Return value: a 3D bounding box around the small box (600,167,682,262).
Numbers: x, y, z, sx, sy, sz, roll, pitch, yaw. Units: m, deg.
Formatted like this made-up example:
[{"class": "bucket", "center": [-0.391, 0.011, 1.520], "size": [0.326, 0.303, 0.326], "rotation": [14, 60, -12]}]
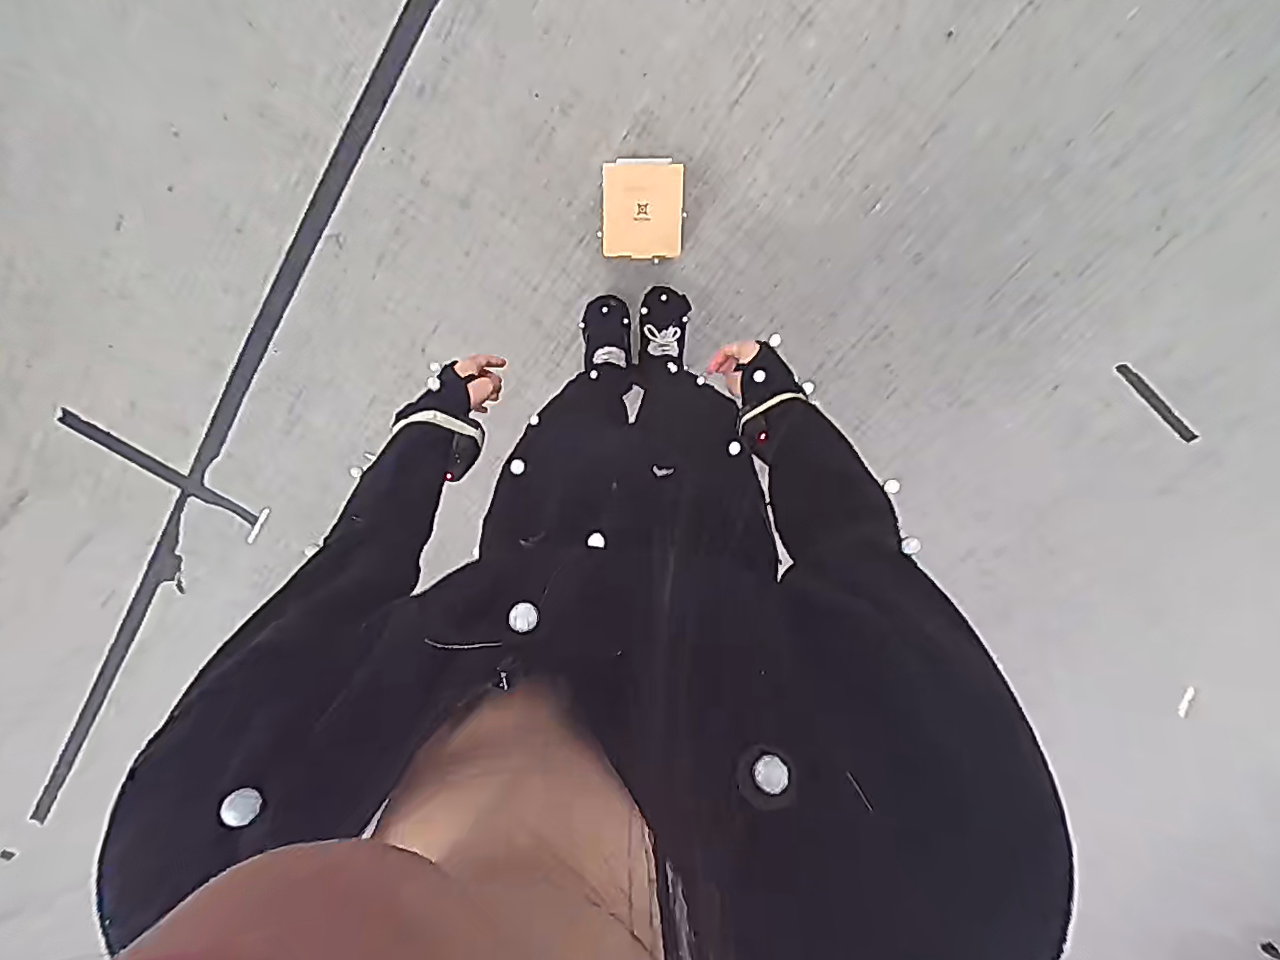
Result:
[{"class": "small box", "center": [-0.001, -0.578, 1.188], "size": [0.168, 0.176, 0.179], "rotation": [-1, 113, -3]}]
